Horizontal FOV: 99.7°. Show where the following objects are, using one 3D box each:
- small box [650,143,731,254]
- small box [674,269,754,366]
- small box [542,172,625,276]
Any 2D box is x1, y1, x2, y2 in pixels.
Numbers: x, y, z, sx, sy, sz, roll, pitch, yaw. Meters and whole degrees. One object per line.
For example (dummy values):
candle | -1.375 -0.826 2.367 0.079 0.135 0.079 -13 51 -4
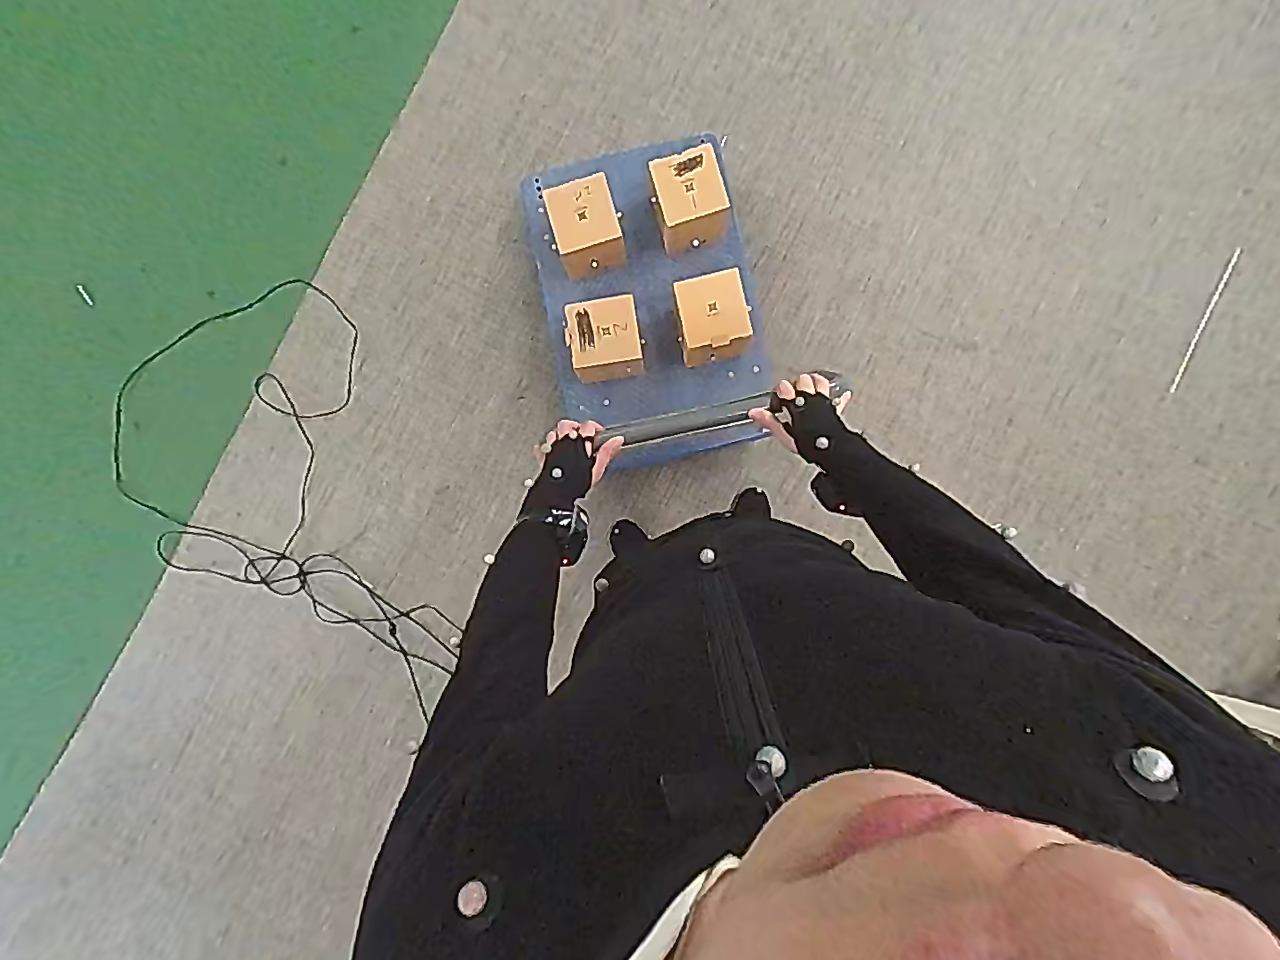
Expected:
small box | 0.127 -0.727 1.414 0.168 0.176 0.179 -16 88 3
small box | 0.185 -0.414 1.400 0.168 0.176 0.179 -13 87 3
small box | -0.141 -0.661 1.424 0.168 0.176 0.179 -16 87 1
